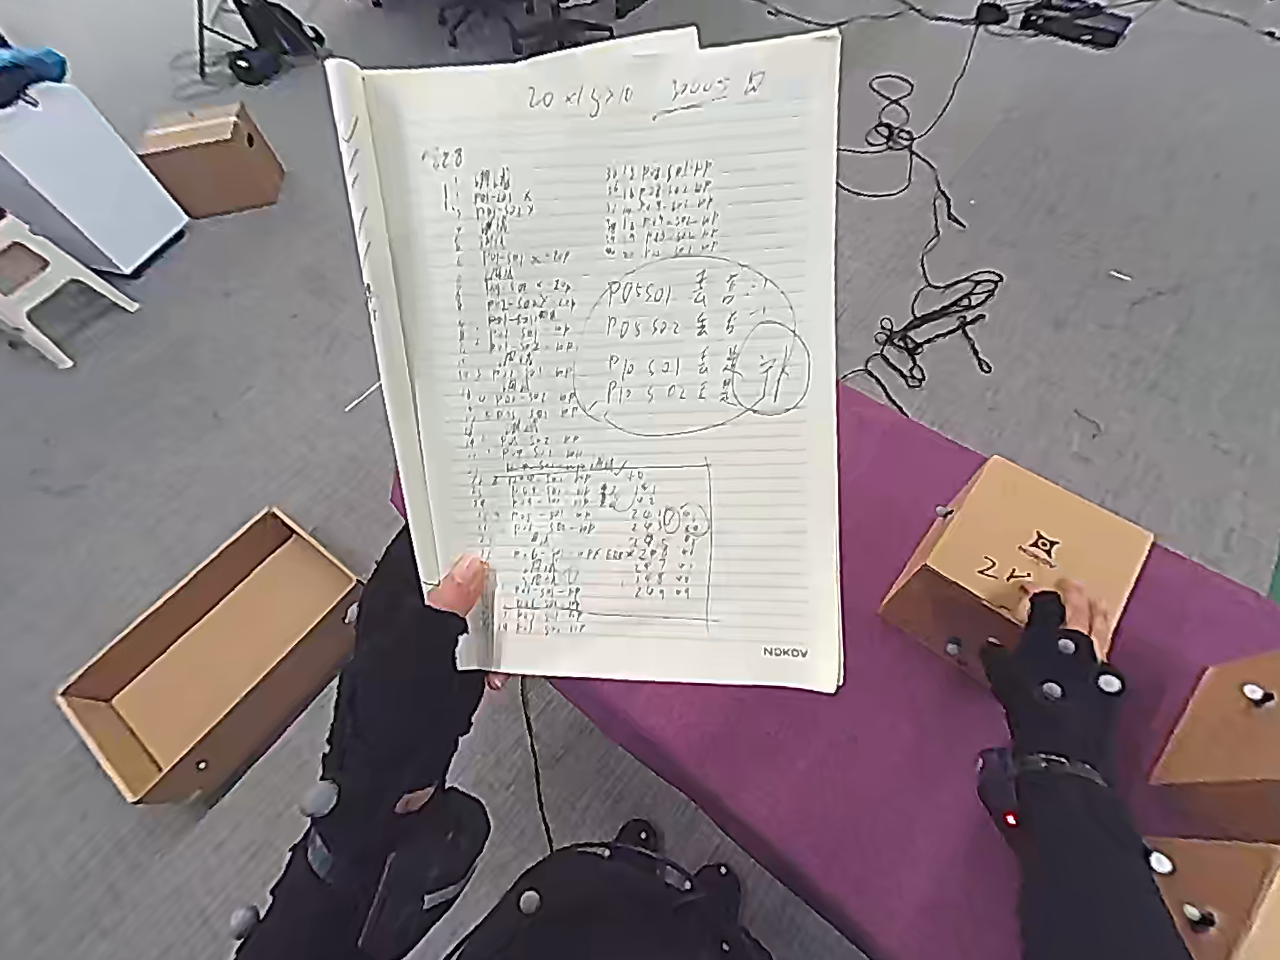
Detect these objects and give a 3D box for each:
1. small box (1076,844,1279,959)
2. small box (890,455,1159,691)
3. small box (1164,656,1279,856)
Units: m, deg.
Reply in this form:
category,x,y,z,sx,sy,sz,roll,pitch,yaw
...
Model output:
category,x,y,z,sx,sy,sz,roll,pitch,yaw
small box,0.504,0.425,0.427,0.179,0.176,0.168,-39,63,-17
small box,0.418,0.111,0.619,0.168,0.176,0.179,35,69,22
small box,0.656,0.276,0.500,0.179,0.176,0.168,-41,64,-19
